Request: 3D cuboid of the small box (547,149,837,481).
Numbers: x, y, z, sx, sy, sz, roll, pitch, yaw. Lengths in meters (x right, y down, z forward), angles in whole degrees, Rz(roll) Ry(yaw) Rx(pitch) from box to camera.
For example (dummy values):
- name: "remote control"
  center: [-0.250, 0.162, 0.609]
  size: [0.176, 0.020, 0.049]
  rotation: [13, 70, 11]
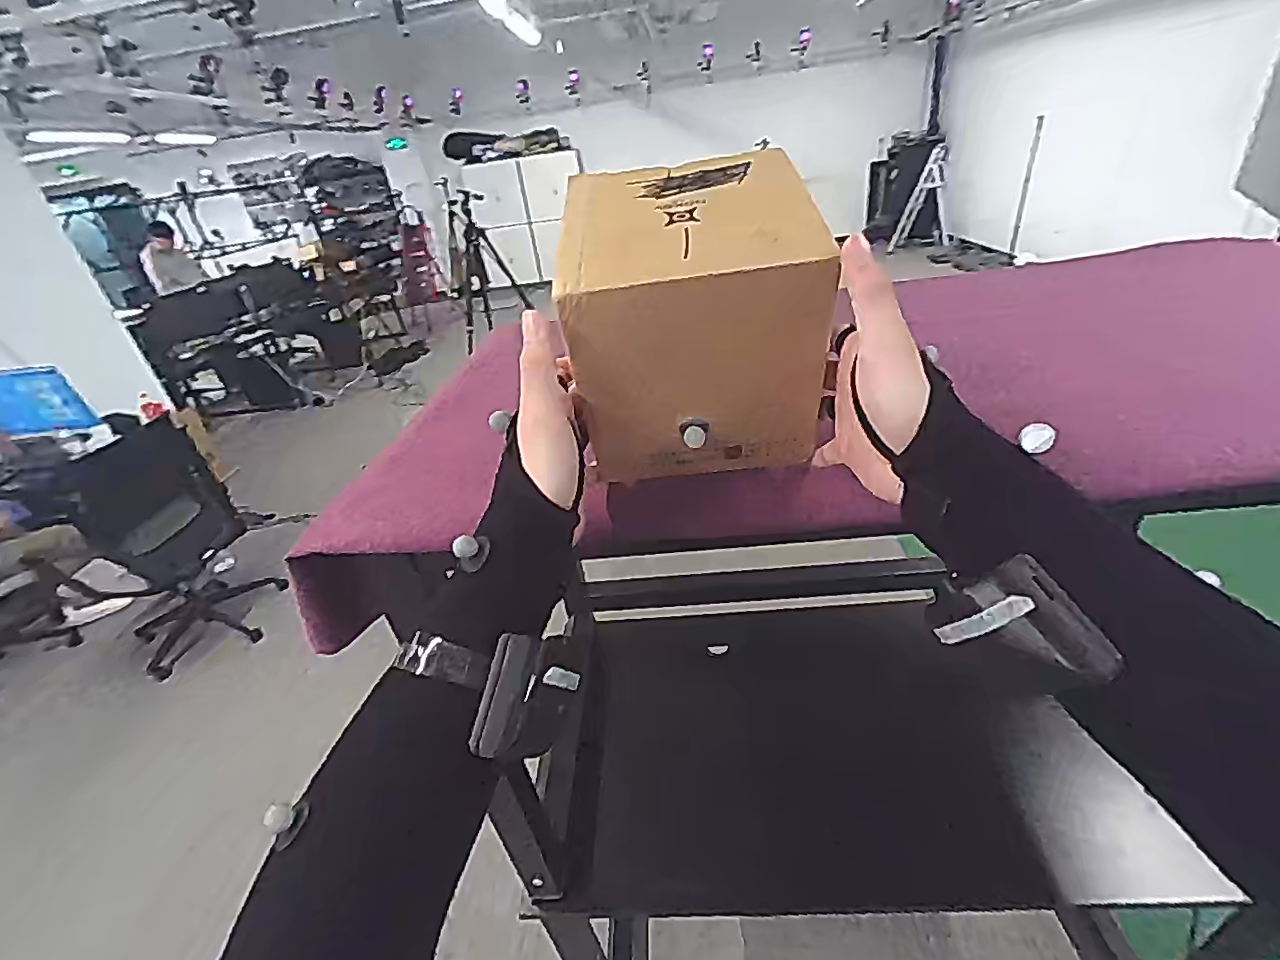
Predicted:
- name: "small box"
  center: [0.038, -0.122, 0.415]
  size: [0.168, 0.176, 0.179]
  rotation: [-6, 50, 6]
